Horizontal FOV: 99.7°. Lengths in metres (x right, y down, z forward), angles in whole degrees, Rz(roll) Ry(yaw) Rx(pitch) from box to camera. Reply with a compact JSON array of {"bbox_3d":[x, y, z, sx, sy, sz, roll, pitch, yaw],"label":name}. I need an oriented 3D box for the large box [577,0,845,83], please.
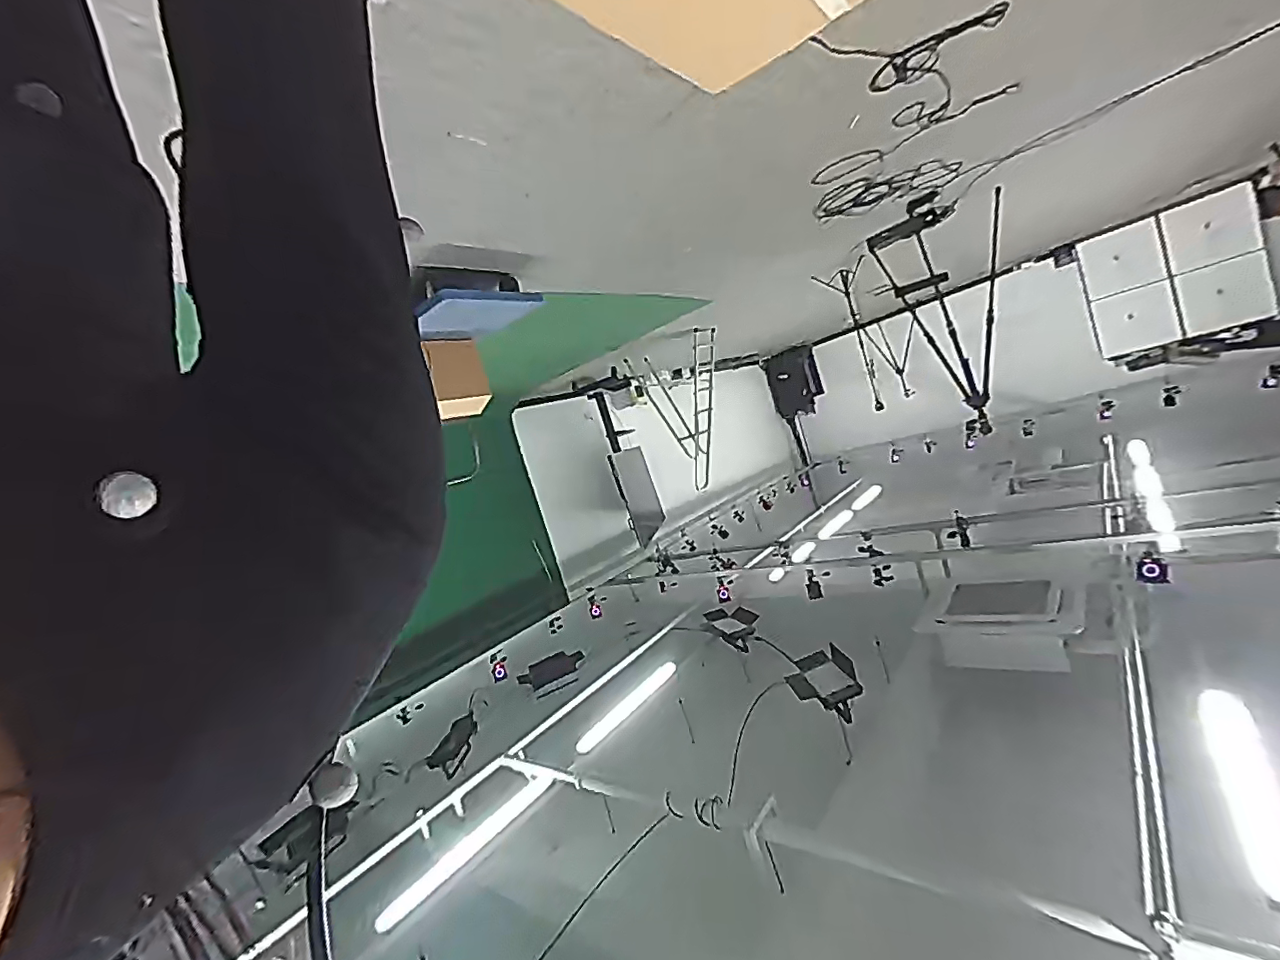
[{"bbox_3d":[0.047,-0.578,0.373,0.320,0.320,0.408,-9,-172,40],"label":"large box"}]
